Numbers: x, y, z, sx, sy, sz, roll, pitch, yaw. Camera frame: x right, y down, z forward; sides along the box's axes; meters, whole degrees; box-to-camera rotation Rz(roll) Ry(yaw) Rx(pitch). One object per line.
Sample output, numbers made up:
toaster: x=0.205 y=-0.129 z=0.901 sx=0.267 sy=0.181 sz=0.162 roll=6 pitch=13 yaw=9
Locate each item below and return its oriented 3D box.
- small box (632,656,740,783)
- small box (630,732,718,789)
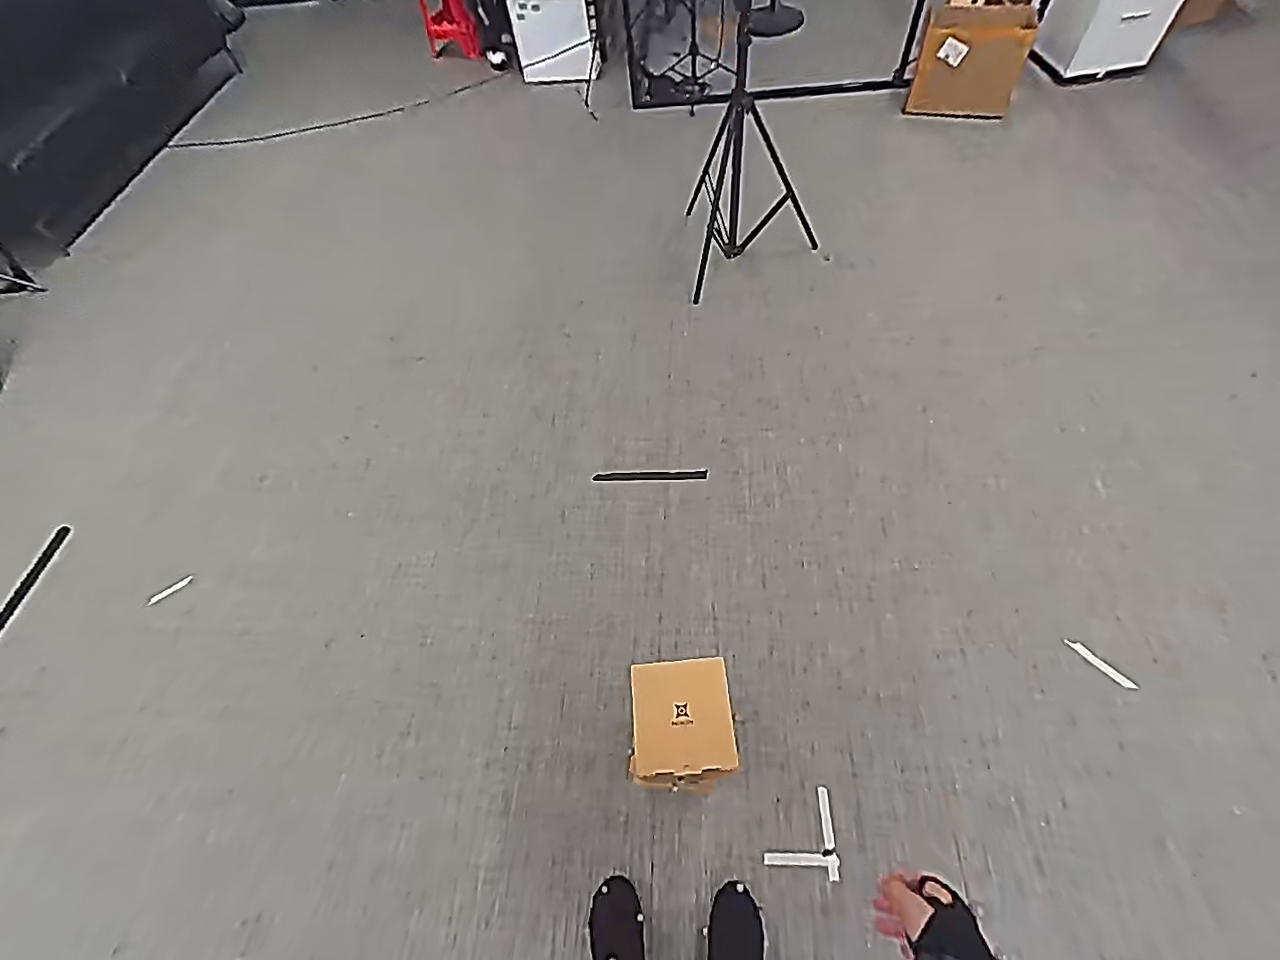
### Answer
small box: x=0.077 y=0.429 z=0.961 sx=0.168 sy=0.176 sz=0.179 roll=-7 pitch=58 yaw=2
small box: x=0.079 y=0.516 z=1.099 sx=0.168 sy=0.176 sz=0.179 roll=3 pitch=59 yaw=9
